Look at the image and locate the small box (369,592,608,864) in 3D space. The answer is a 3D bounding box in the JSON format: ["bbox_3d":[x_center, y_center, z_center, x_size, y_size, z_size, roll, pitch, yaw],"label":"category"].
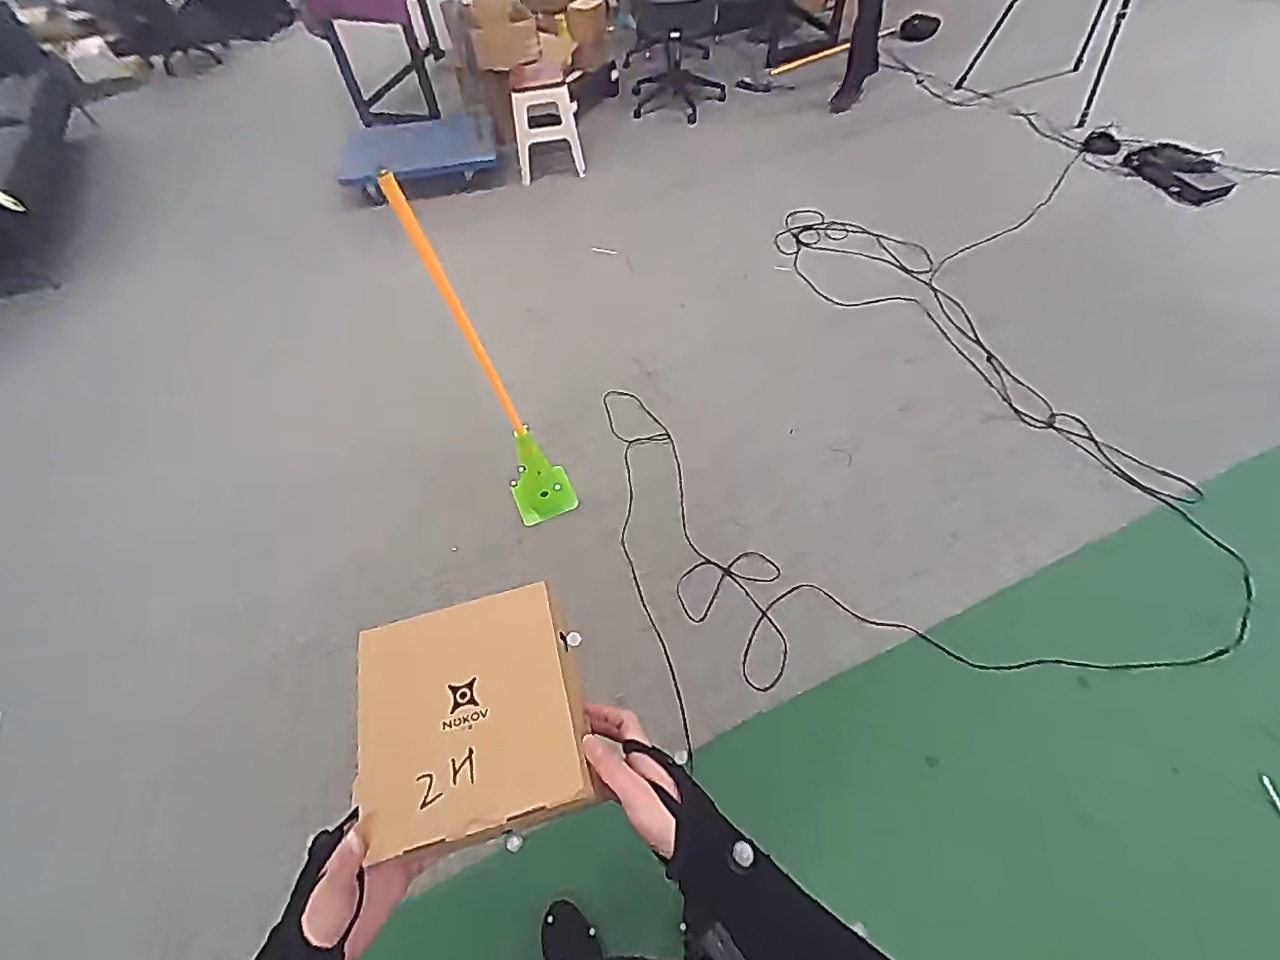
[{"bbox_3d":[-0.132,0.231,0.506,0.168,0.176,0.179,-14,59,-5],"label":"small box"}]

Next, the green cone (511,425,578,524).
[{"bbox_3d":[-0.346,-0.046,1.773,0.202,0.368,0.200,-21,58,-12],"label":"green cone"}]
